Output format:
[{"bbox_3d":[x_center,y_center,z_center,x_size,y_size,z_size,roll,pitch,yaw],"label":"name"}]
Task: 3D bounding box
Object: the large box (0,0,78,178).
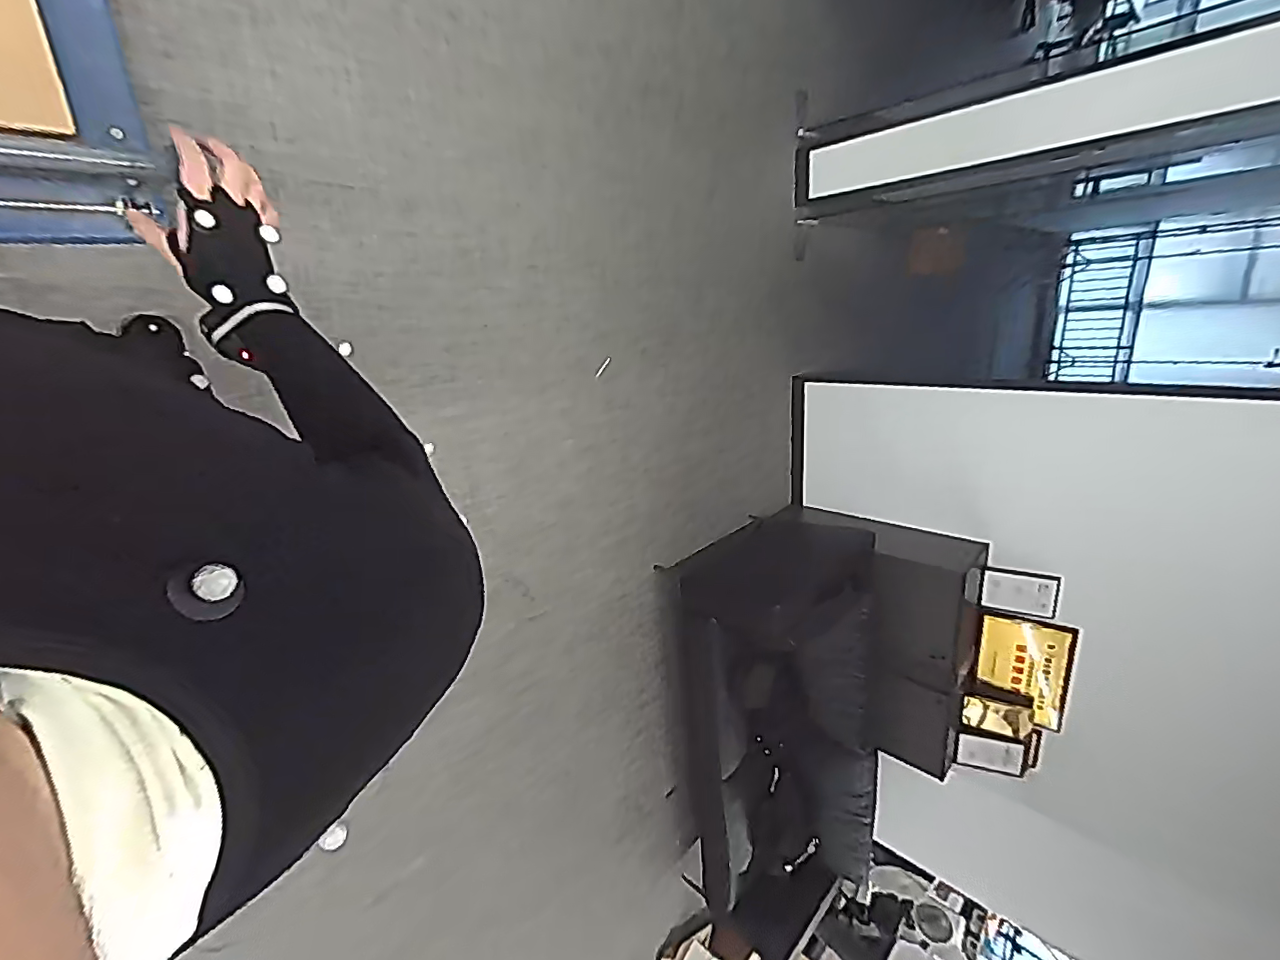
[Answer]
[{"bbox_3d":[-1.041,-0.670,0.725,0.320,0.320,0.408,-21,113,-43],"label":"large box"}]
